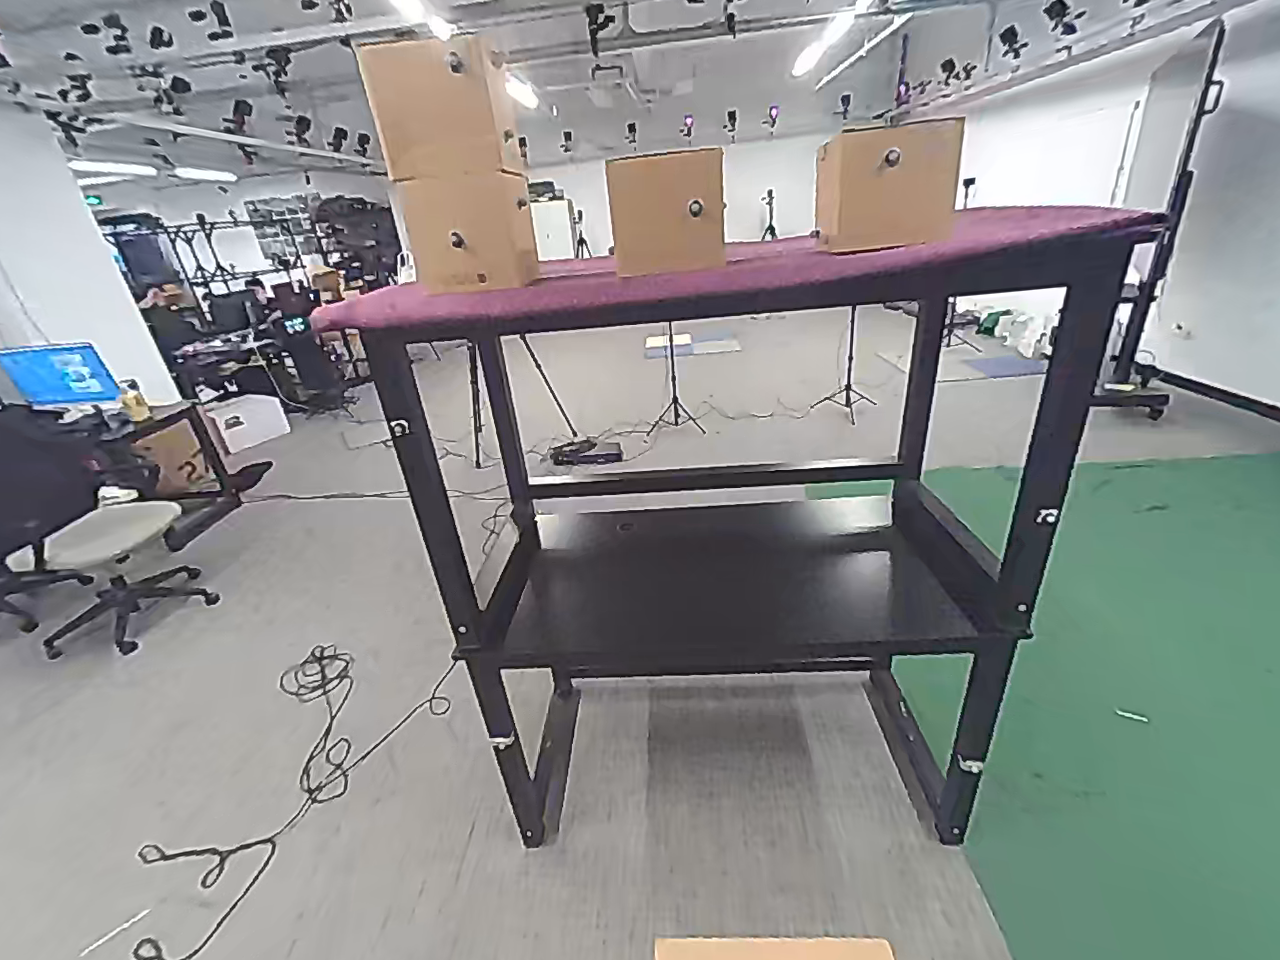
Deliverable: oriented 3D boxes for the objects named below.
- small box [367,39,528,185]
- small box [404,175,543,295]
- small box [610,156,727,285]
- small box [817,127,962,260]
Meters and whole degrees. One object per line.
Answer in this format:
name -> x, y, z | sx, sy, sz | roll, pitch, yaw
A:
small box -> -0.287, -0.557, 0.850 | 0.179, 0.176, 0.168 | -4, 26, 1
small box -> -0.269, -0.413, 0.923 | 0.168, 0.176, 0.179 | -2, 26, 3
small box -> 0.051, -0.430, 0.906 | 0.179, 0.176, 0.168 | -4, 25, 4
small box -> 0.399, -0.462, 0.897 | 0.179, 0.176, 0.168 | -3, 23, 6
